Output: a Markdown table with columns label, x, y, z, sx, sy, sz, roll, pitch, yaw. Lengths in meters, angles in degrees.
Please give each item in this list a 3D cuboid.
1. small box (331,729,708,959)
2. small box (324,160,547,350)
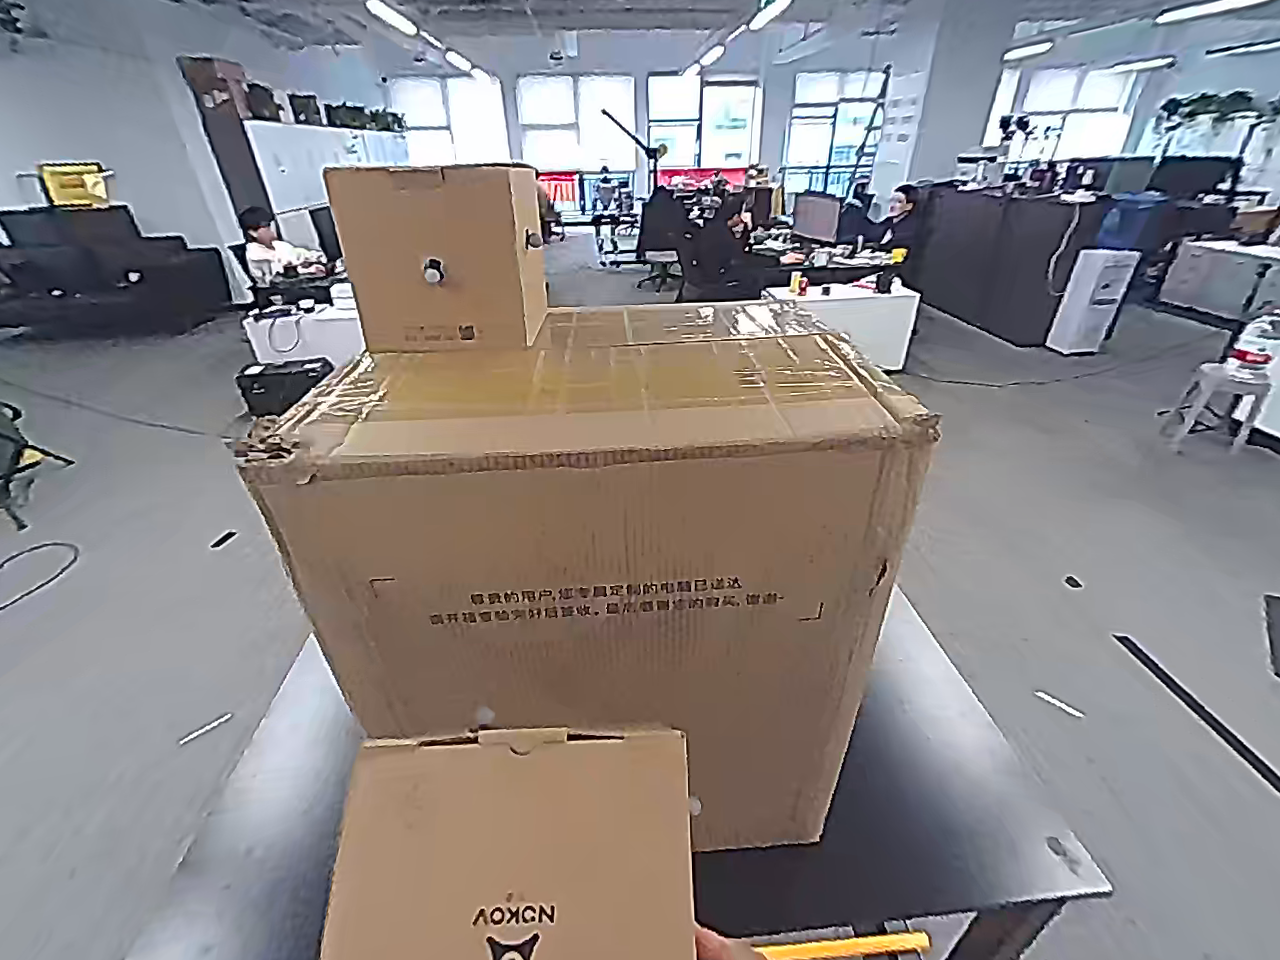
| label | x | y | z | sx | sy | sz | roll | pitch | yaw |
| --- | --- | --- | --- | --- | --- | --- | --- | --- | --- |
| small box | -0.054 | 0.241 | 0.308 | 0.168 | 0.176 | 0.179 | -1 | 65 | -2 |
| small box | -0.196 | -0.243 | 0.582 | 0.168 | 0.176 | 0.179 | -2 | 30 | -2 |
